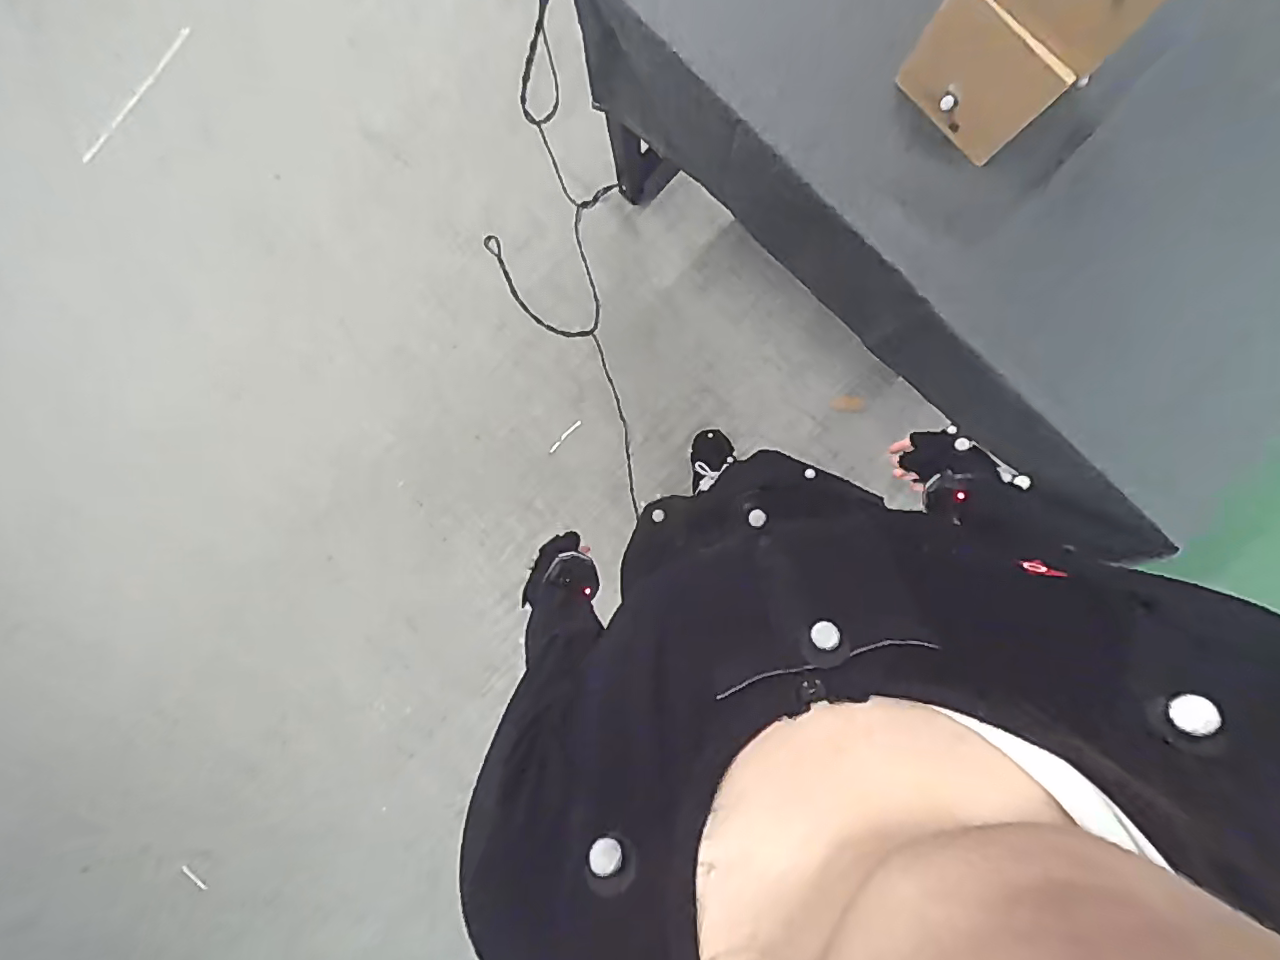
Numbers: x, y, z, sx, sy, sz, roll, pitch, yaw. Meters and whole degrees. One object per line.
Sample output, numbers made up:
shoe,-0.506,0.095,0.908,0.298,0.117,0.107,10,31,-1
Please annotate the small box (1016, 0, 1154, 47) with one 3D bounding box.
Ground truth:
small box,0.444,-0.537,0.470,0.179,0.176,0.168,43,93,0

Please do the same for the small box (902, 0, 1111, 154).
small box,0.452,-0.539,0.633,0.179,0.176,0.168,-45,90,4
